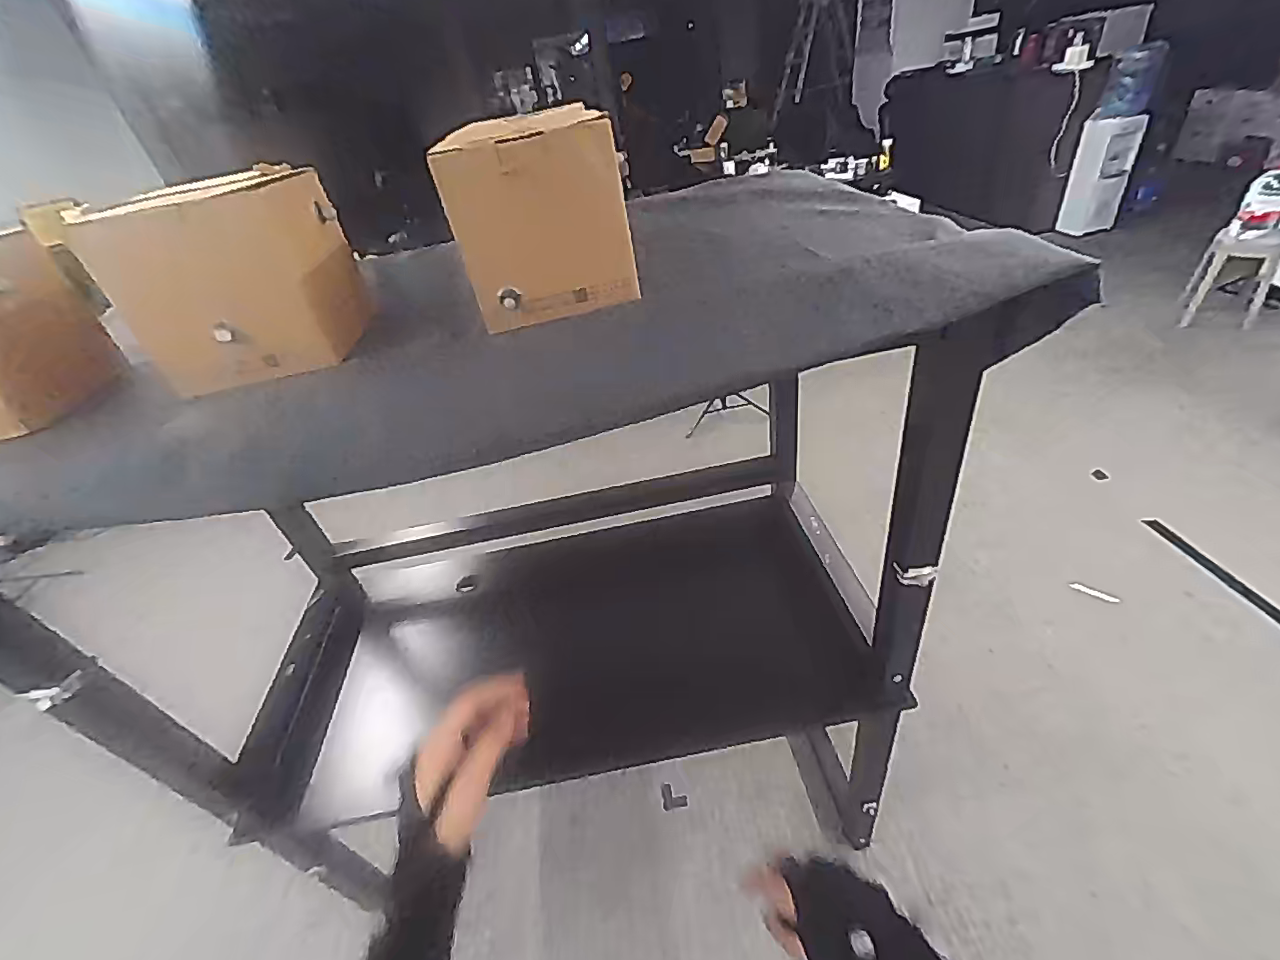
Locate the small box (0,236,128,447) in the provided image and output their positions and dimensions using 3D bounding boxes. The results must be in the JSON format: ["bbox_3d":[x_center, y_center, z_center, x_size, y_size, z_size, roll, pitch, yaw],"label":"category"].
[{"bbox_3d":[-0.709,-0.139,0.568,0.168,0.176,0.179,-13,36,-3],"label":"small box"}]

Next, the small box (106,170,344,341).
[{"bbox_3d":[-0.550,-0.313,0.754,0.179,0.176,0.168,-13,37,-3],"label":"small box"}]

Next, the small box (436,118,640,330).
[{"bbox_3d":[-0.101,-0.276,0.590,0.168,0.176,0.179,-13,36,-2],"label":"small box"}]
